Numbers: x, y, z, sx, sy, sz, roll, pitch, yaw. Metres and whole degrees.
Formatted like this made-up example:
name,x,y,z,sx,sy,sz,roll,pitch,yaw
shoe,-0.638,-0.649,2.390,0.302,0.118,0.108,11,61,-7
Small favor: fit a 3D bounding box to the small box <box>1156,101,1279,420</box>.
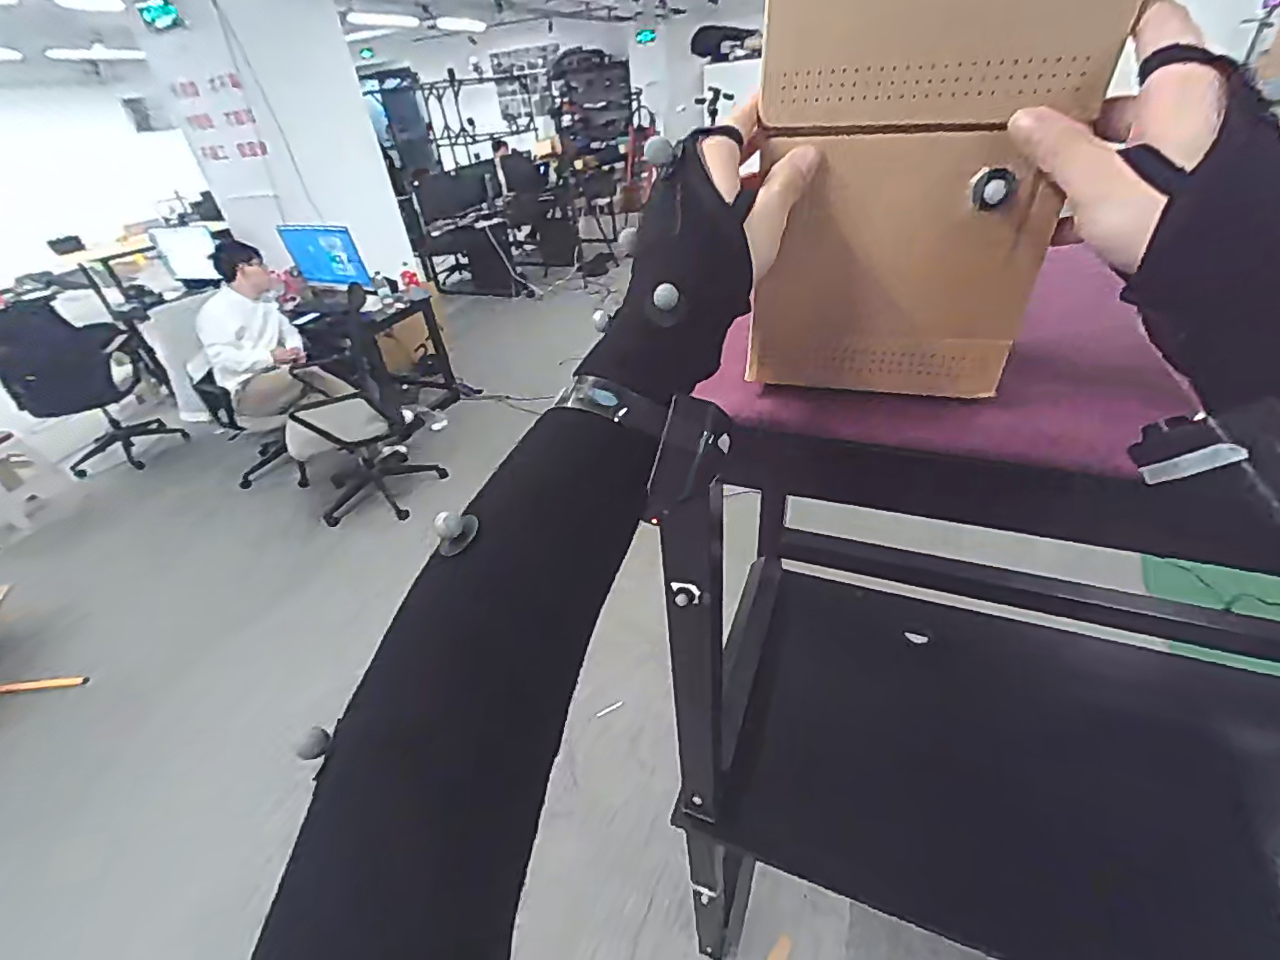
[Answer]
name,x,y,z,sx,sy,sz,roll,pitch,yaw
small box,0.468,-0.136,0.332,0.179,0.176,0.168,11,39,24
